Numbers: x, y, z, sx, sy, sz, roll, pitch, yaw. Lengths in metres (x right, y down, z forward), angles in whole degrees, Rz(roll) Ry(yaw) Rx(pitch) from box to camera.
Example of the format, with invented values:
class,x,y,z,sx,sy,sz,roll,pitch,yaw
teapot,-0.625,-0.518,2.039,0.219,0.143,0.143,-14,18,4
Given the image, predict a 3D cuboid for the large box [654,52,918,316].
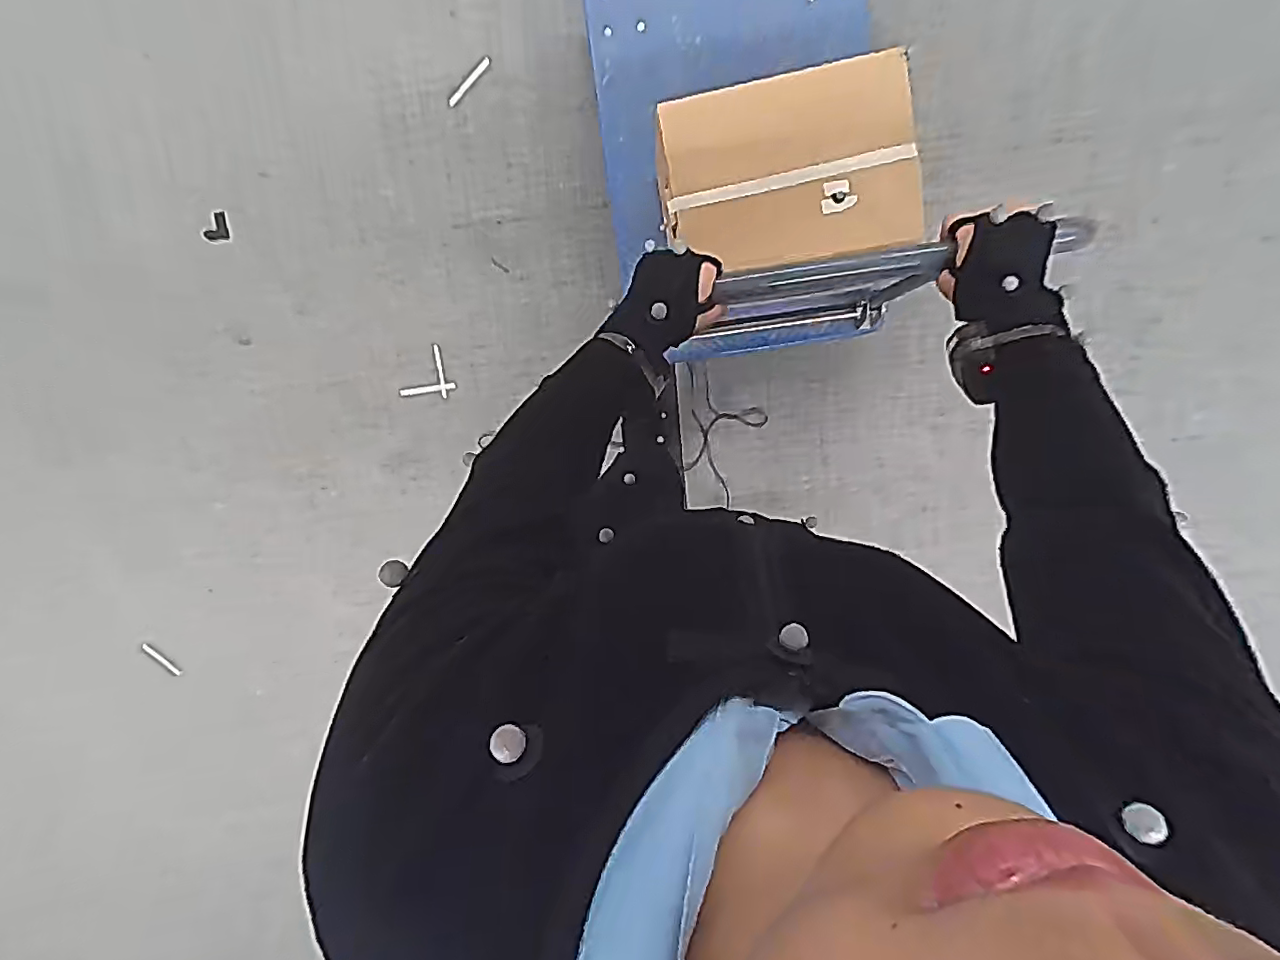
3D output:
class,x,y,z,sx,sy,sz,roll,pitch,yaw
large box,0.254,-0.533,1.056,0.408,0.320,0.320,-11,100,3
